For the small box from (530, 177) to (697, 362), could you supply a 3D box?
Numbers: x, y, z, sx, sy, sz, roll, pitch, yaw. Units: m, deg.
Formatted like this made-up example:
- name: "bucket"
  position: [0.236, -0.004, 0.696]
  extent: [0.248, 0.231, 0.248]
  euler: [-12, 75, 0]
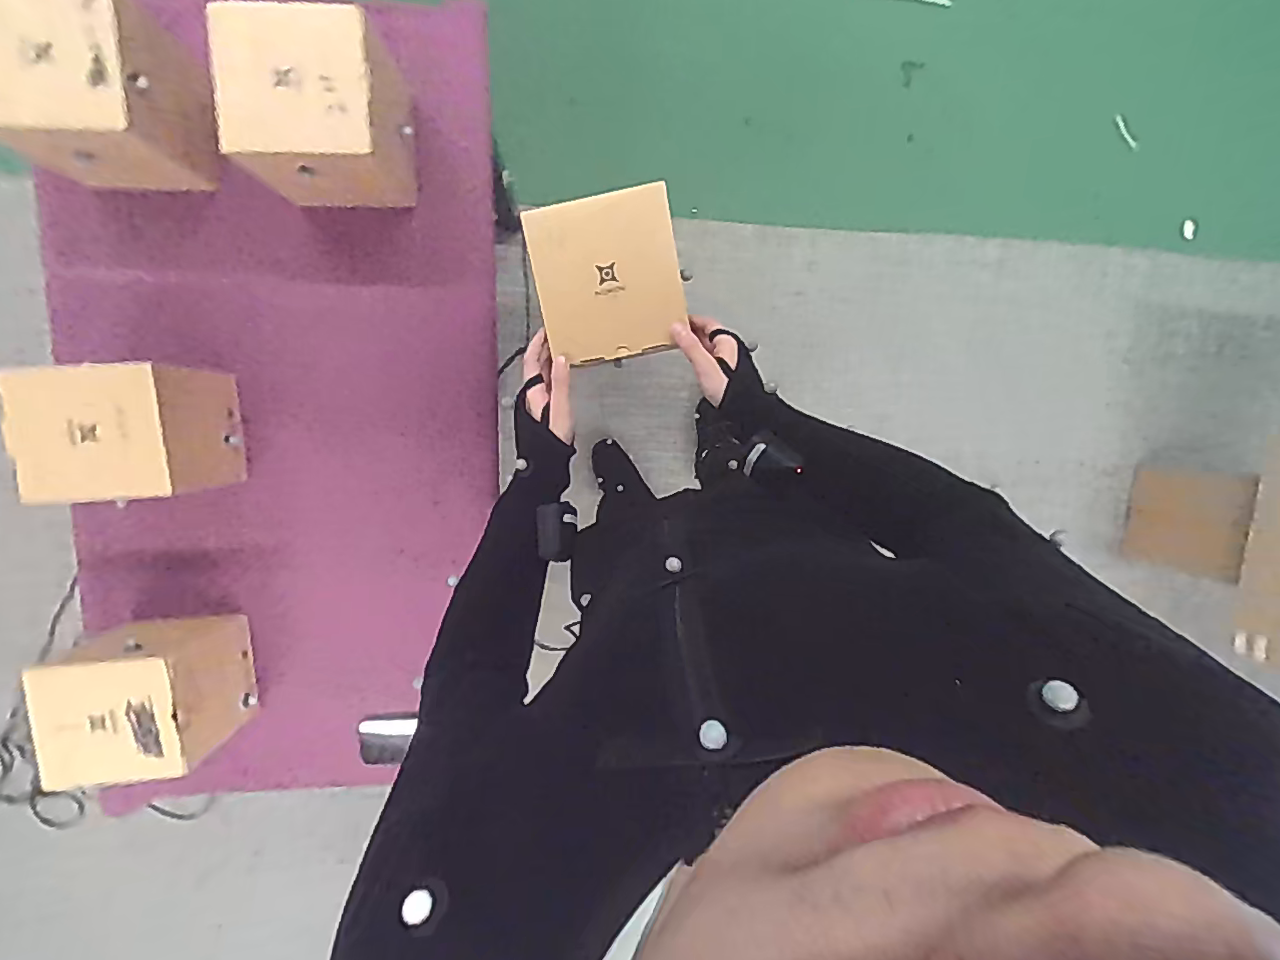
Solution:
- name: "small box"
  position: [-0.029, -0.249, 0.681]
  extent: [0.168, 0.176, 0.179]
  euler: [-10, 104, 2]

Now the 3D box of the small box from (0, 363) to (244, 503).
- name: "small box"
  position: [-0.683, -0.064, 0.729]
  extent: [0.179, 0.176, 0.168]
  euler: [-4, 97, -6]

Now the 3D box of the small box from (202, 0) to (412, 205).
- name: "small box"
  position: [-0.420, -0.479, 0.710]
  extent: [0.179, 0.176, 0.168]
  euler: [-1, 97, -5]

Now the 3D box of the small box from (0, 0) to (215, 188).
- name: "small box"
  position: [-0.693, -0.490, 0.685]
  extent: [0.179, 0.176, 0.168]
  euler: [-2, 96, -5]

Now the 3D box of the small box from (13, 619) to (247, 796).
- name: "small box"
  position: [-0.692, 0.306, 0.762]
  extent: [0.179, 0.176, 0.168]
  euler: [-4, 95, -5]
